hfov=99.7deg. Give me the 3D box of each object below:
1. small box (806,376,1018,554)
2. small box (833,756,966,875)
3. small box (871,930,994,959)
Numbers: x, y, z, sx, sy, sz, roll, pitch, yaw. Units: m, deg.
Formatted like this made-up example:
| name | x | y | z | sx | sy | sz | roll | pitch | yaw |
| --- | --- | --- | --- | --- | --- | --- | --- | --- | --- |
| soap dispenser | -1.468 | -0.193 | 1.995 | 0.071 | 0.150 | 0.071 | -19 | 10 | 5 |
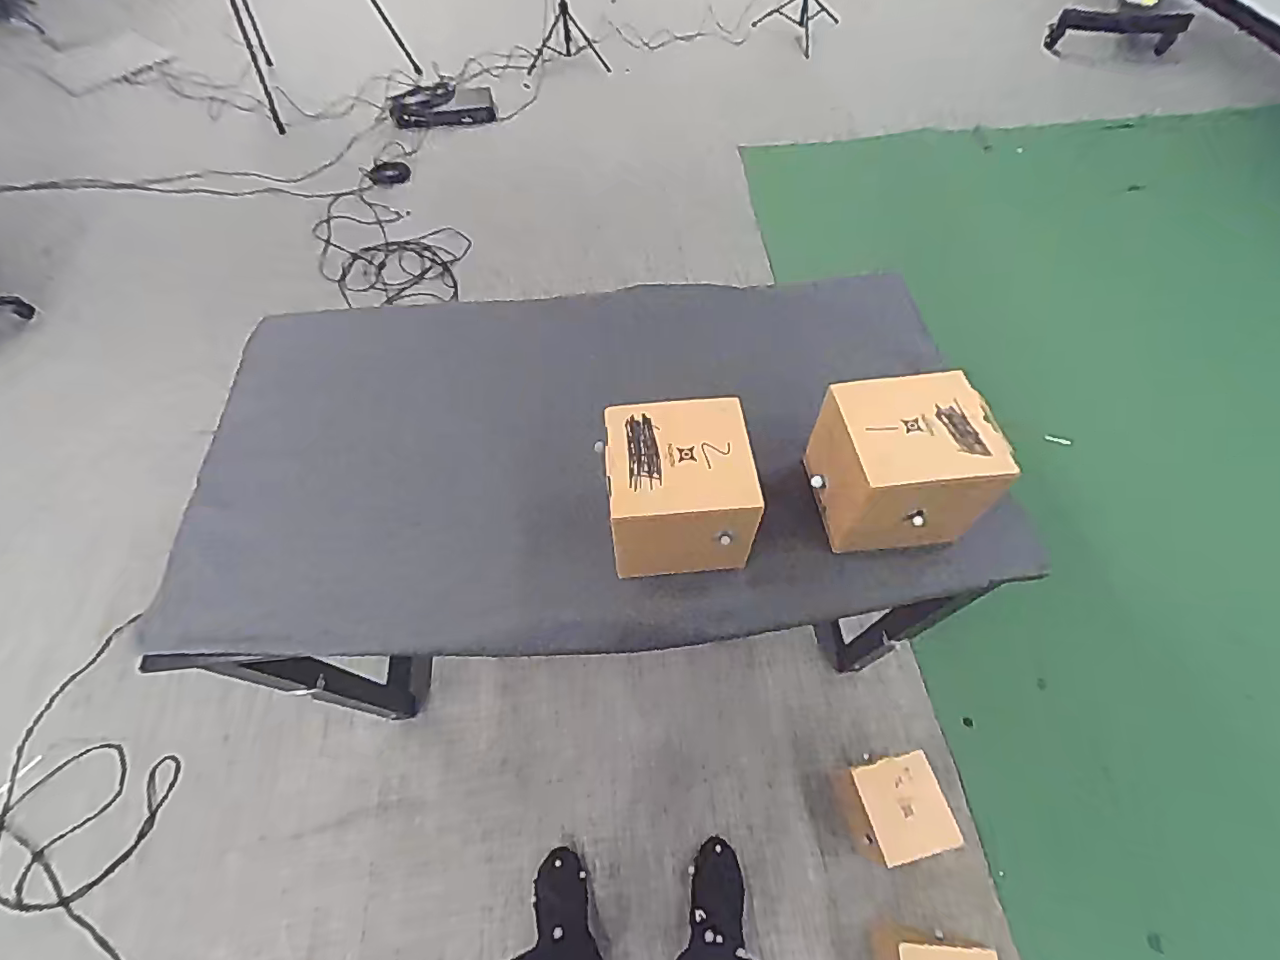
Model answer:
| name | x | y | z | sx | sy | sz | roll | pitch | yaw |
| --- | --- | --- | --- | --- | --- | --- | --- | --- | --- |
| small box | 0.339 | -0.014 | 0.717 | 0.179 | 0.176 | 0.168 | -5 | 56 | 0 |
| small box | 0.535 | 0.700 | 1.143 | 0.168 | 0.176 | 0.179 | -12 | 60 | -6 |
| small box | 0.550 | 0.955 | 0.994 | 0.179 | 0.176 | 0.168 | 2 | 61 | 3 |
